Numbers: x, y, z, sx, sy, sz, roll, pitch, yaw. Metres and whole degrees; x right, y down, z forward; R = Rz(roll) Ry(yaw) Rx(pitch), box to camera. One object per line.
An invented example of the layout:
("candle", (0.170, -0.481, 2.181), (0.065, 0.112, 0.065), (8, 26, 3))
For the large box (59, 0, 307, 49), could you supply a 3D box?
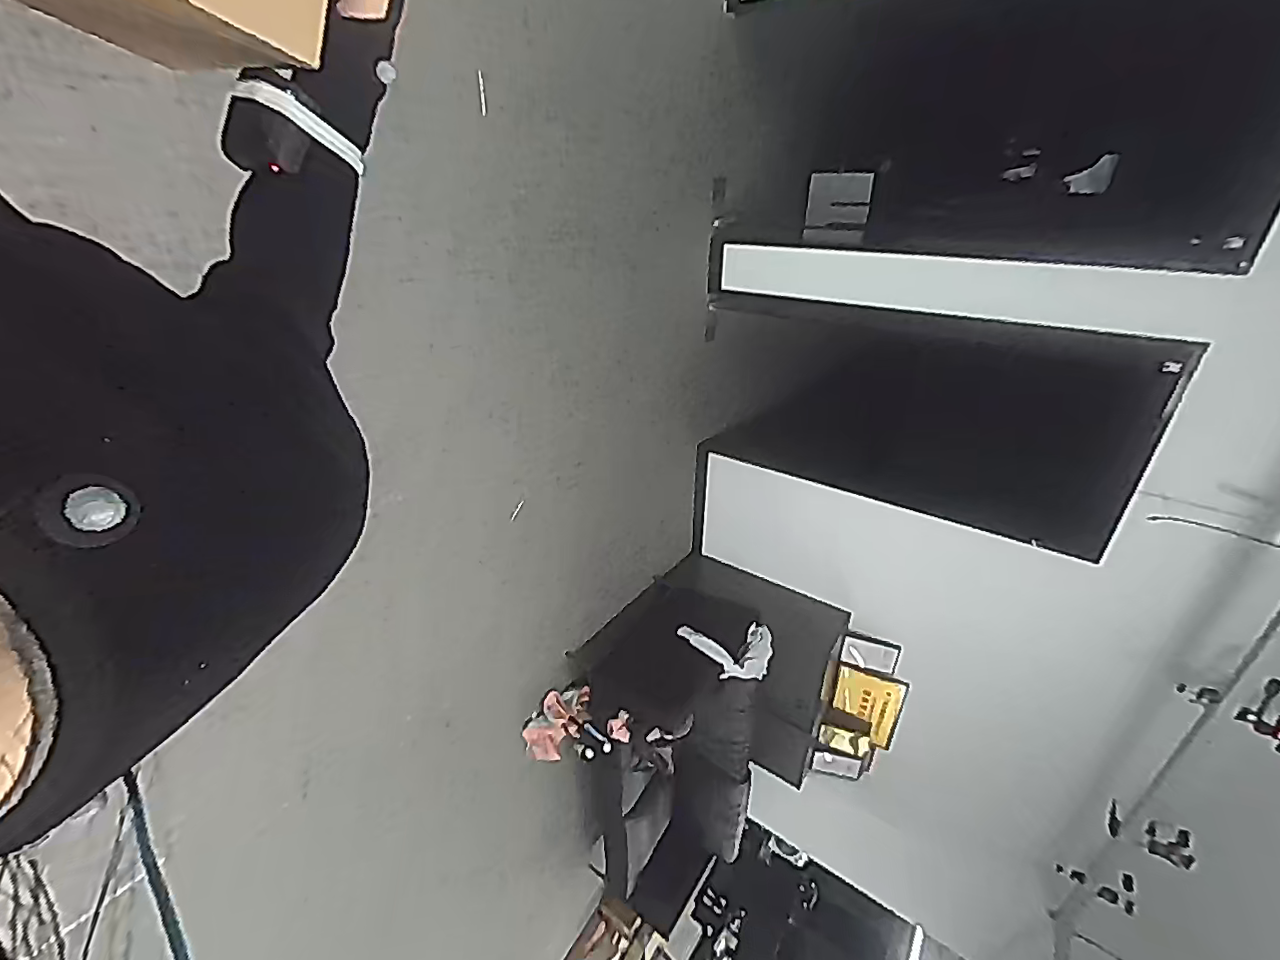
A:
("large box", (-0.433, -0.498, 0.271), (0.408, 0.320, 0.320), (-7, 118, -55))
